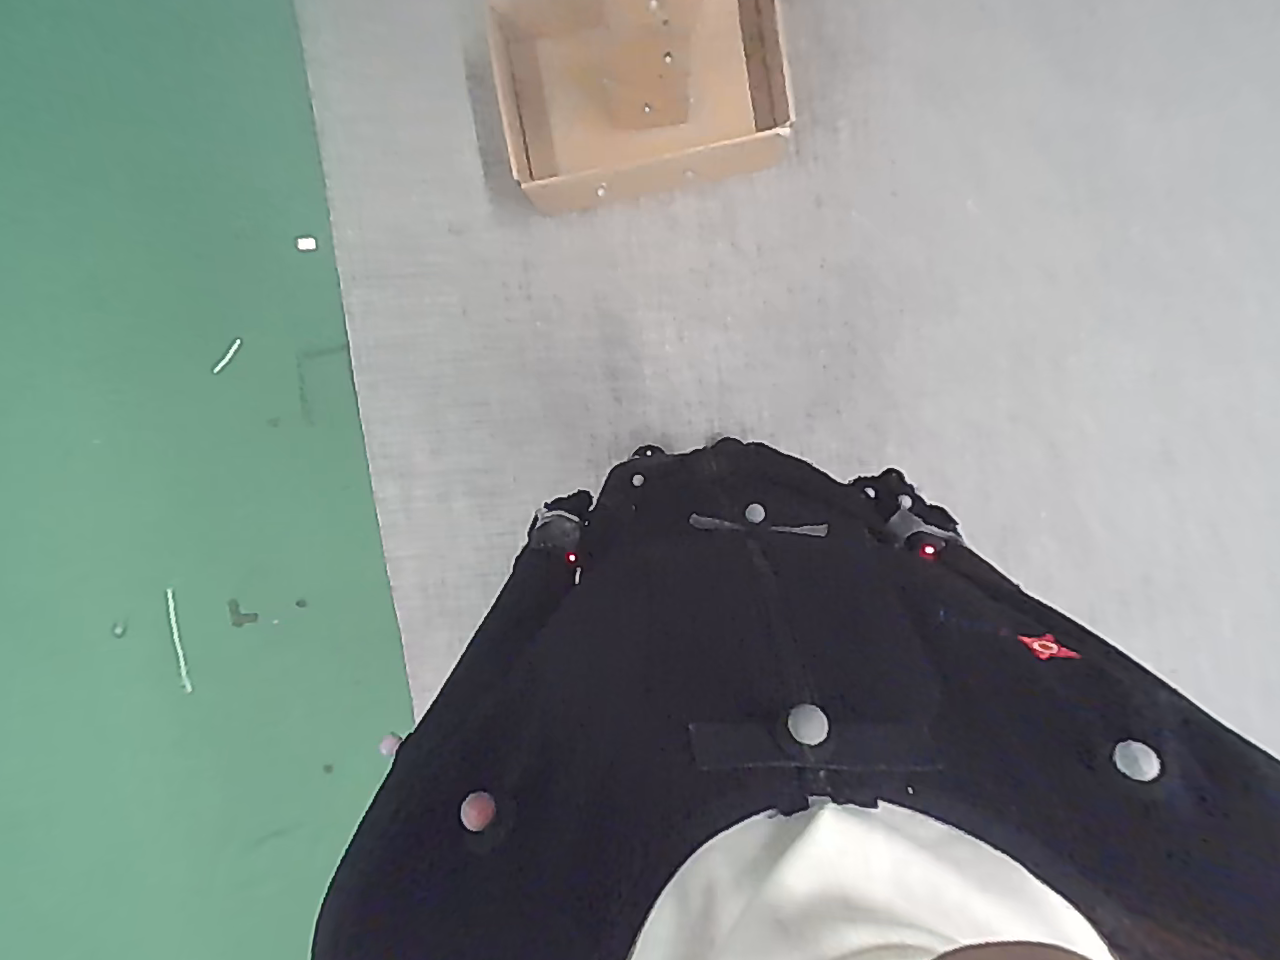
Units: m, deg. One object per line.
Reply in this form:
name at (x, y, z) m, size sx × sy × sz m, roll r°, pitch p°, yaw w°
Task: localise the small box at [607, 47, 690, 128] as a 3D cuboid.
small box at (0.023, -0.929, 1.218) m, size 0.179 × 0.176 × 0.168 m, roll -2°, pitch 96°, yaw 6°
